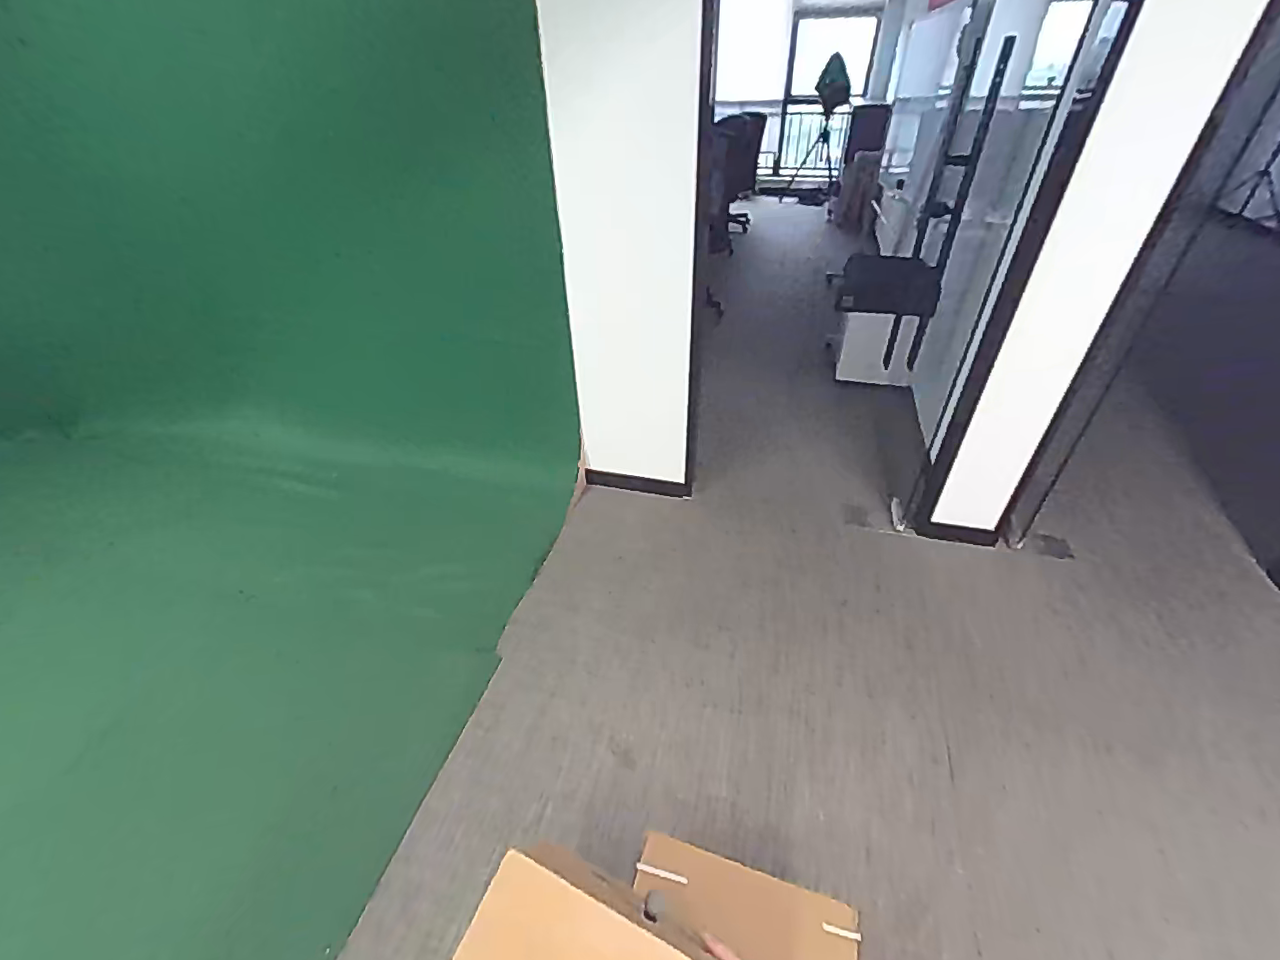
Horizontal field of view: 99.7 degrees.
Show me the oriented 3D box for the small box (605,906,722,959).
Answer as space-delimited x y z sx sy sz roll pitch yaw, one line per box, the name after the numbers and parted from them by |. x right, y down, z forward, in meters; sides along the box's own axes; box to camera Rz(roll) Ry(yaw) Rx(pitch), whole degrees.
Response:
0.022 0.802 0.813 0.168 0.176 0.179 11 36 16 | small box
